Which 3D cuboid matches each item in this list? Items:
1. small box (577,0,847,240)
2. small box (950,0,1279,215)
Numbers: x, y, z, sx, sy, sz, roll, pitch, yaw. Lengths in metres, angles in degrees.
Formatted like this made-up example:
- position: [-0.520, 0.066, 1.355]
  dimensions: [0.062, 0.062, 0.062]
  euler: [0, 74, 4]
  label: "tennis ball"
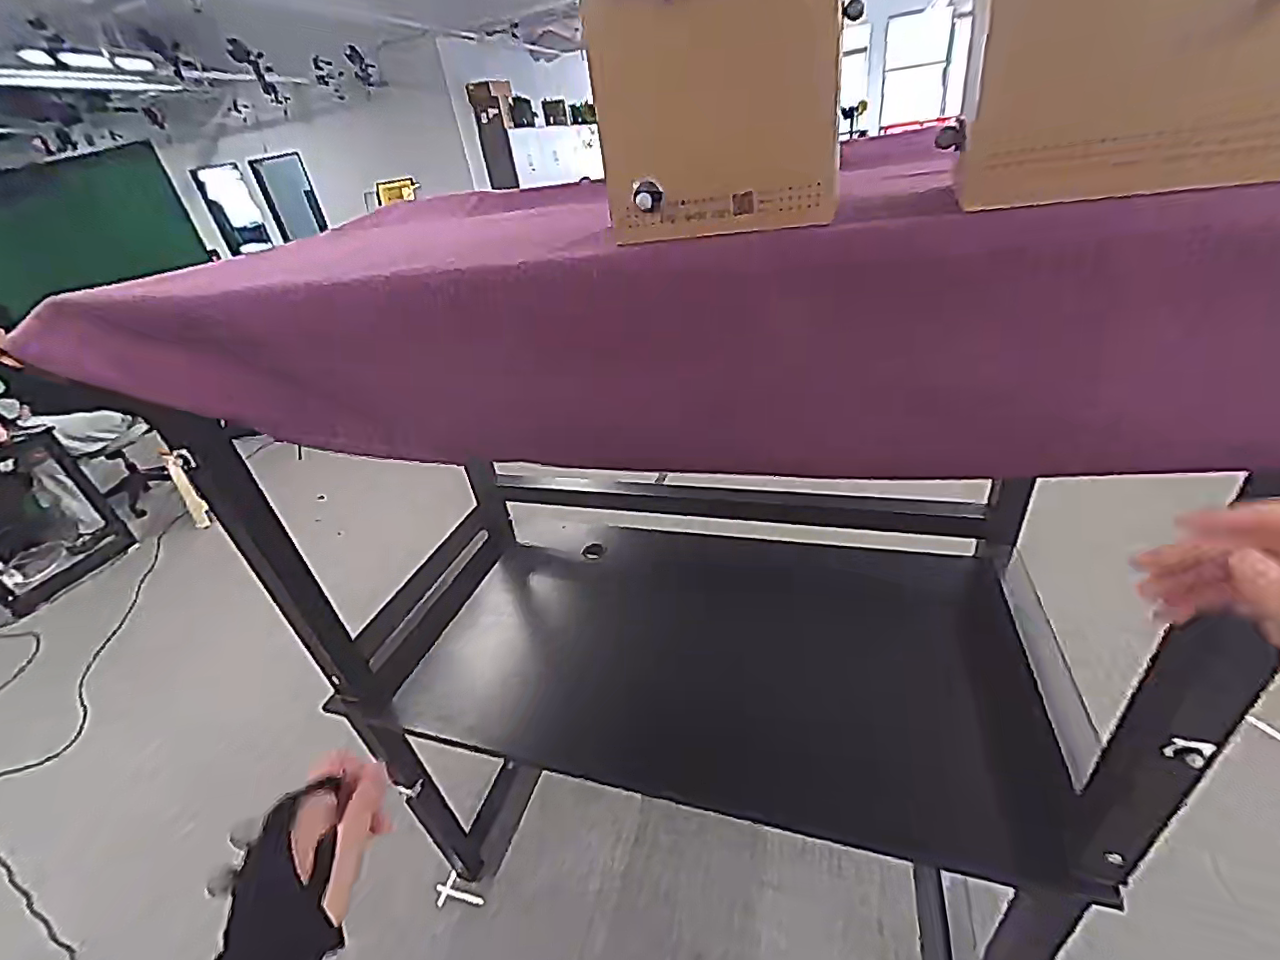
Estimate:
- position: [0.072, -0.291, 0.422]
  dimensions: [0.168, 0.176, 0.179]
  euler: [3, 32, 19]
  label: "small box"
- position: [0.301, -0.268, 0.323]
  dimensions: [0.179, 0.176, 0.168]
  euler: [5, 33, 23]
  label: "small box"
